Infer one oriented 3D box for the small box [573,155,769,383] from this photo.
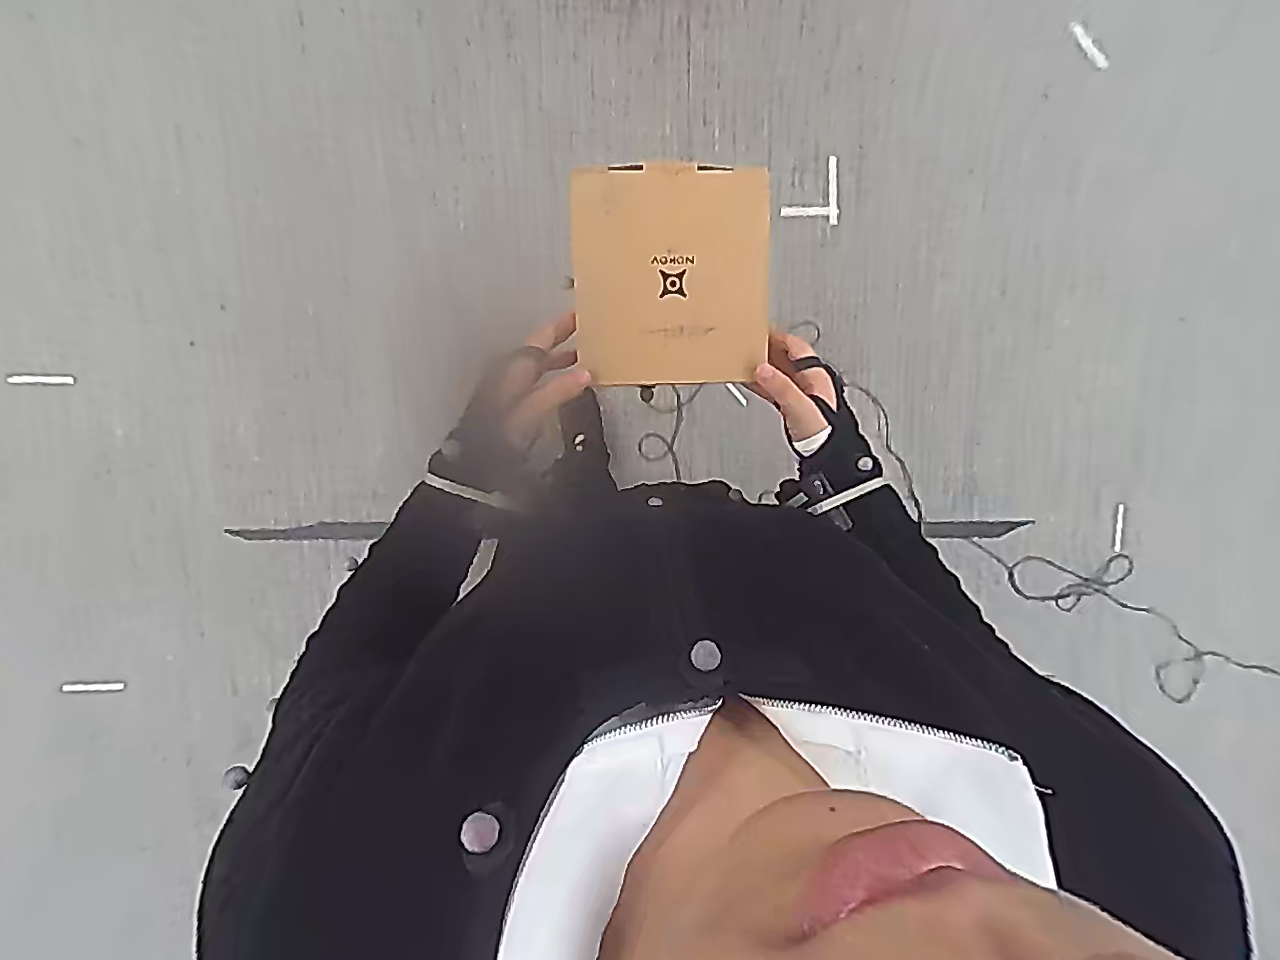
[{"bbox_3d":[0.019,-0.187,0.529,0.168,0.176,0.179,-1,100,-4],"label":"small box"}]
